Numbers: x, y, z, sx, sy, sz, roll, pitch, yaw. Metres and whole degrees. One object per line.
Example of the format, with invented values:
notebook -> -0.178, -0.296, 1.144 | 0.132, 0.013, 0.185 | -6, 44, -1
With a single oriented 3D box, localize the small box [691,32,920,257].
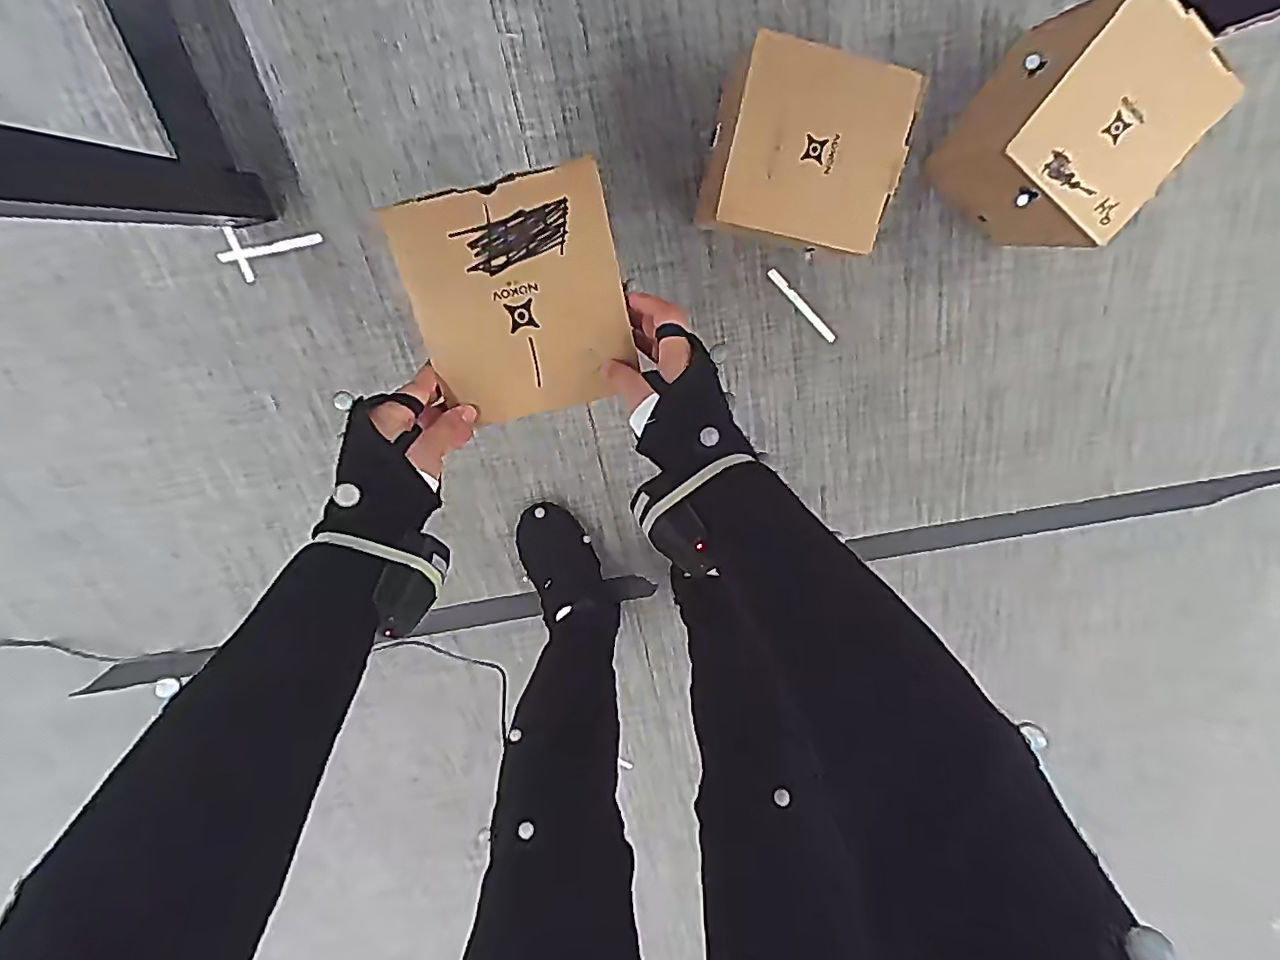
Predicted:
small box -> 0.167, -0.359, 0.612 | 0.179, 0.176, 0.168 | 9, 112, -6

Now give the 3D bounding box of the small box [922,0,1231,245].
small box -> 0.469, -0.392, 0.613 | 0.168, 0.176, 0.179 | 30, 108, -15

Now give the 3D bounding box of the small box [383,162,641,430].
small box -> -0.100, -0.165, 0.500 | 0.168, 0.176, 0.179 | -13, 112, 1
